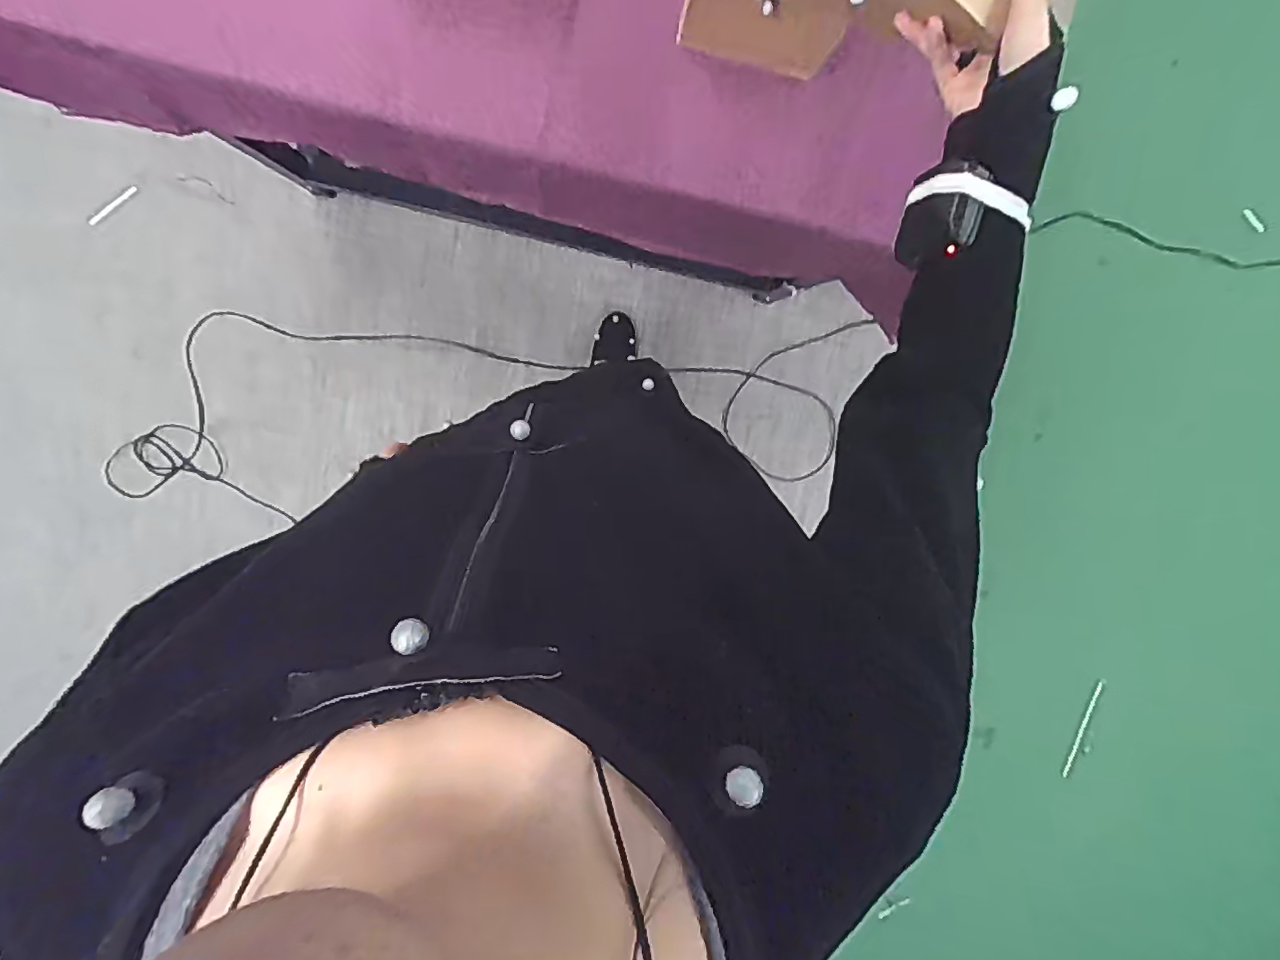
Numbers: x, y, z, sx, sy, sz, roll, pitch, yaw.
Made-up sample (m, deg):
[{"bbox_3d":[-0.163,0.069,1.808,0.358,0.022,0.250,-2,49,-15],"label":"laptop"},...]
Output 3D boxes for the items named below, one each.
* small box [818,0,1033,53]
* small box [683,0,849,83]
[{"bbox_3d":[0.210,-0.449,0.386,0.179,0.176,0.168,11,124,-28],"label":"small box"},{"bbox_3d":[0.153,-0.572,0.582,0.179,0.176,0.168,12,101,-7],"label":"small box"}]
